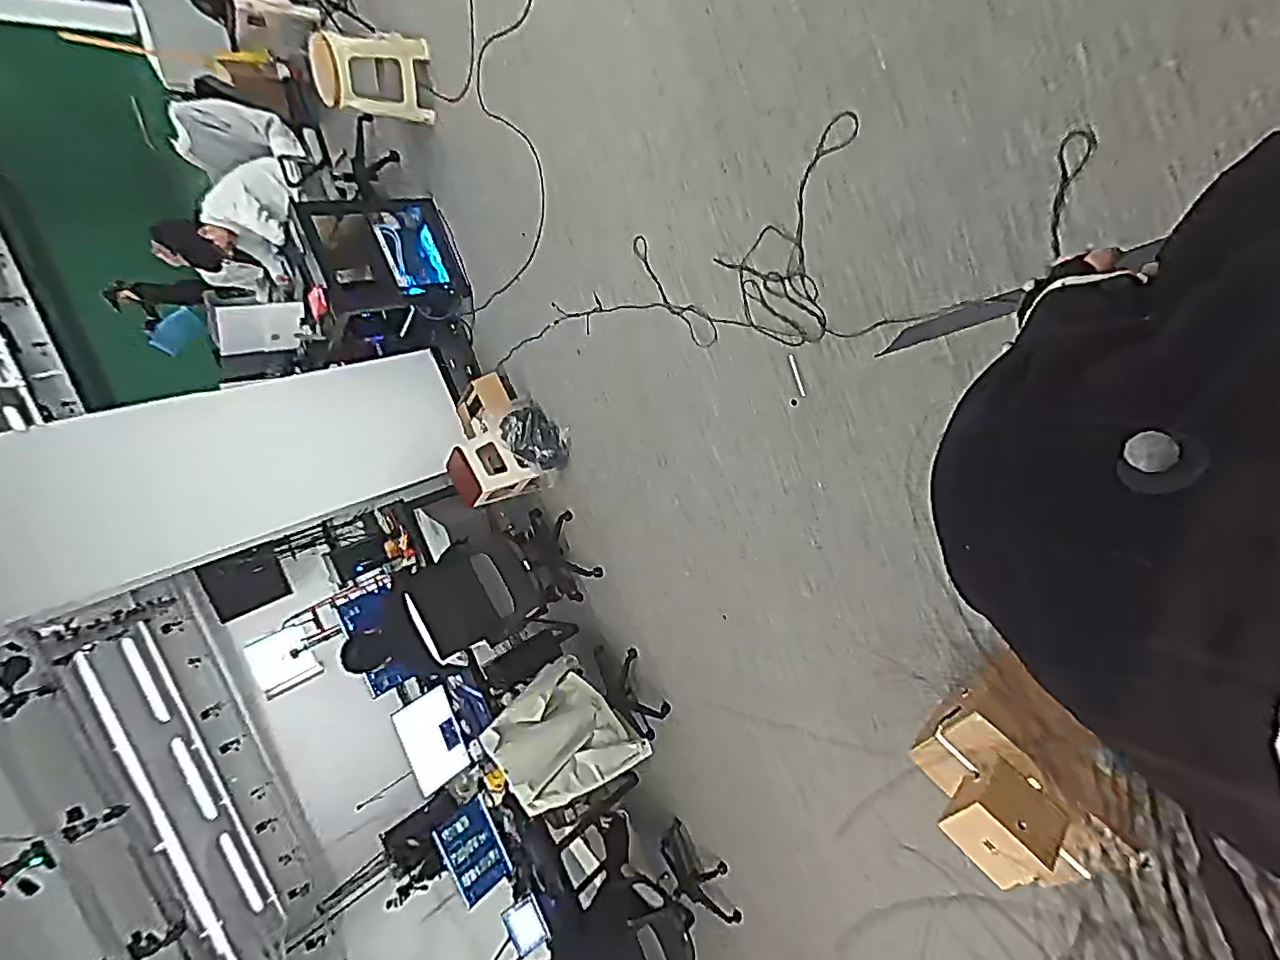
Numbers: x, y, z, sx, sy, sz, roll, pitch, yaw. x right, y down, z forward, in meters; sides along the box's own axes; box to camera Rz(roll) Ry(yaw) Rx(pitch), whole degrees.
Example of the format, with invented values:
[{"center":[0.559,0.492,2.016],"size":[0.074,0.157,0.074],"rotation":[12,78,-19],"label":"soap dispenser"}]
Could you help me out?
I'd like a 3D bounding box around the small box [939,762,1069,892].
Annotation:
[{"center":[0.869,0.820,1.288],"size":[0.179,0.176,0.168],"rotation":[43,137,28],"label":"small box"}]
